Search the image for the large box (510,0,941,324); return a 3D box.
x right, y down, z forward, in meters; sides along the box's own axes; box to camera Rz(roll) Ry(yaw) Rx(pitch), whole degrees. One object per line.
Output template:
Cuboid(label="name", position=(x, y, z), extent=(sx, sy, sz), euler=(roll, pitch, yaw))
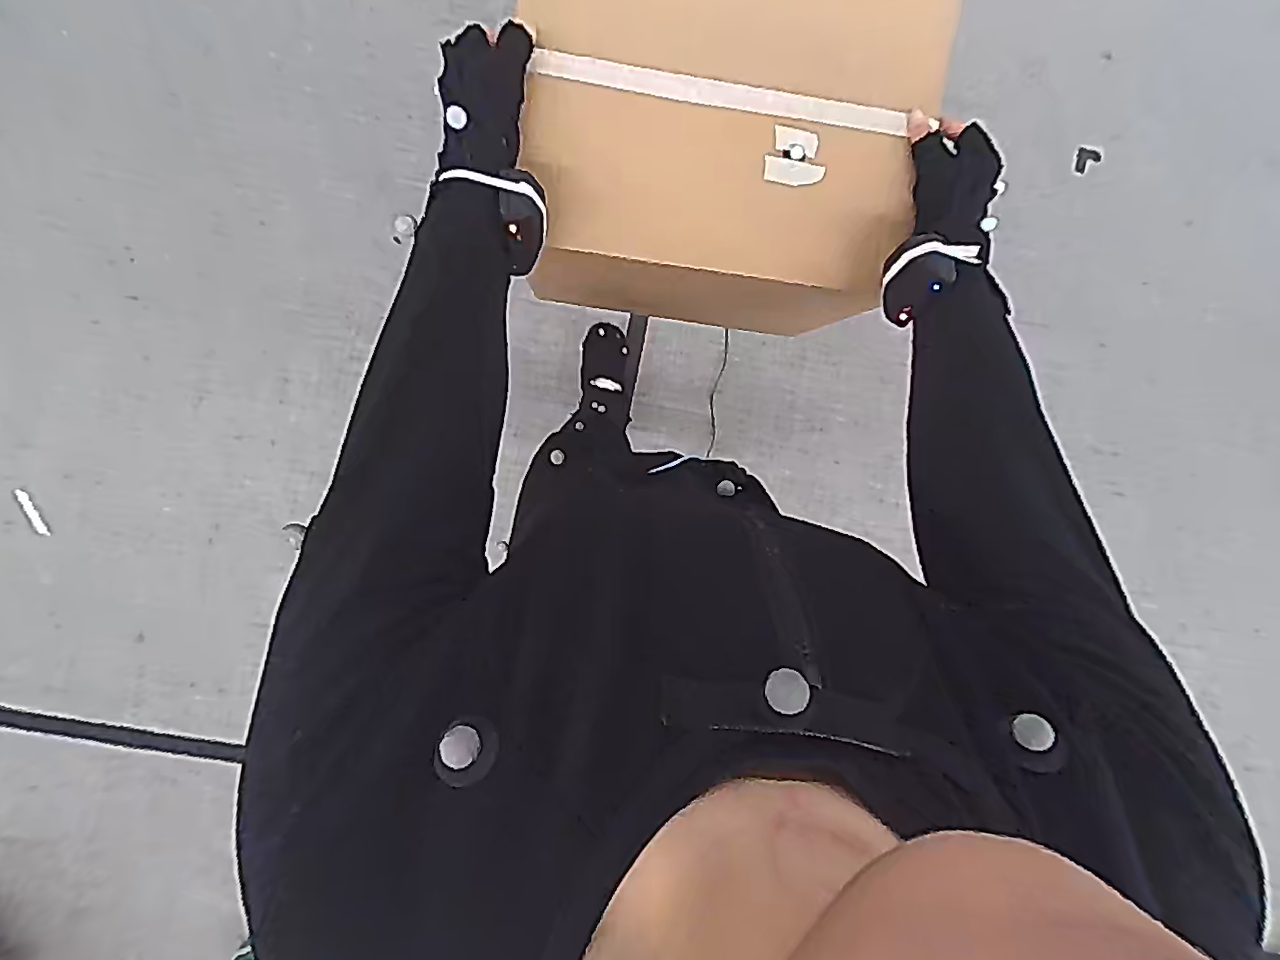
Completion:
Cuboid(label="large box", position=(0.070, -0.390, 0.667), extent=(0.408, 0.320, 0.320), euler=(6, 98, -6))
